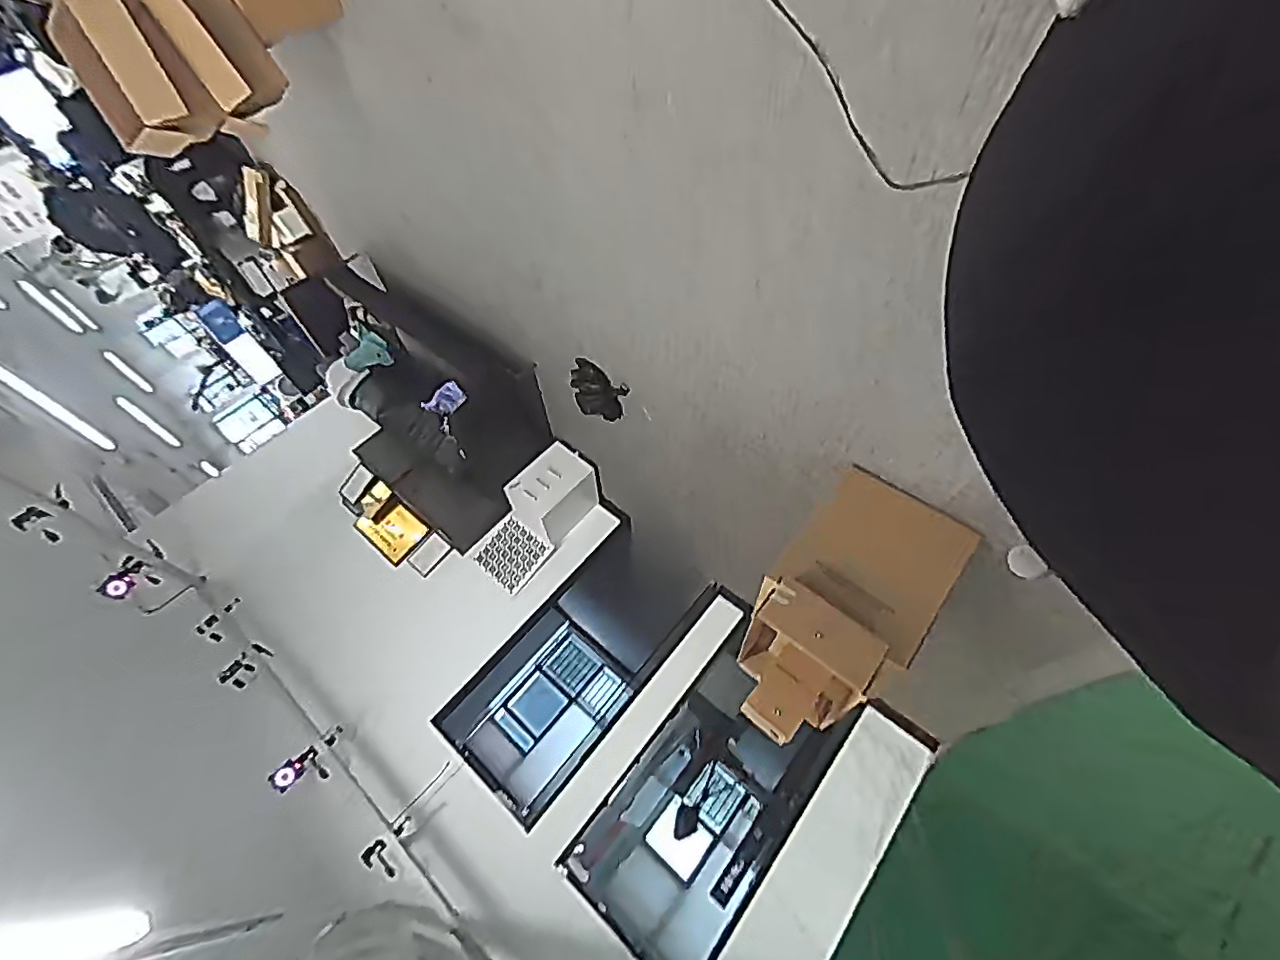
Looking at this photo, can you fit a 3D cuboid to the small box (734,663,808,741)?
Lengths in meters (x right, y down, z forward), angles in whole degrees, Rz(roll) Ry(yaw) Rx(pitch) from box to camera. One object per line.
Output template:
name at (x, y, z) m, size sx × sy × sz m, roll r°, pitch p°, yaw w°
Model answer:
small box at (0.449, 0.762, 1.857) m, size 0.179 × 0.176 × 0.168 m, roll 37°, pitch 157°, yaw 21°

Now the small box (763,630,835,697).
small box at (0.558, 0.656, 1.920) m, size 0.179 × 0.176 × 0.168 m, roll 36°, pitch 158°, yaw 24°
